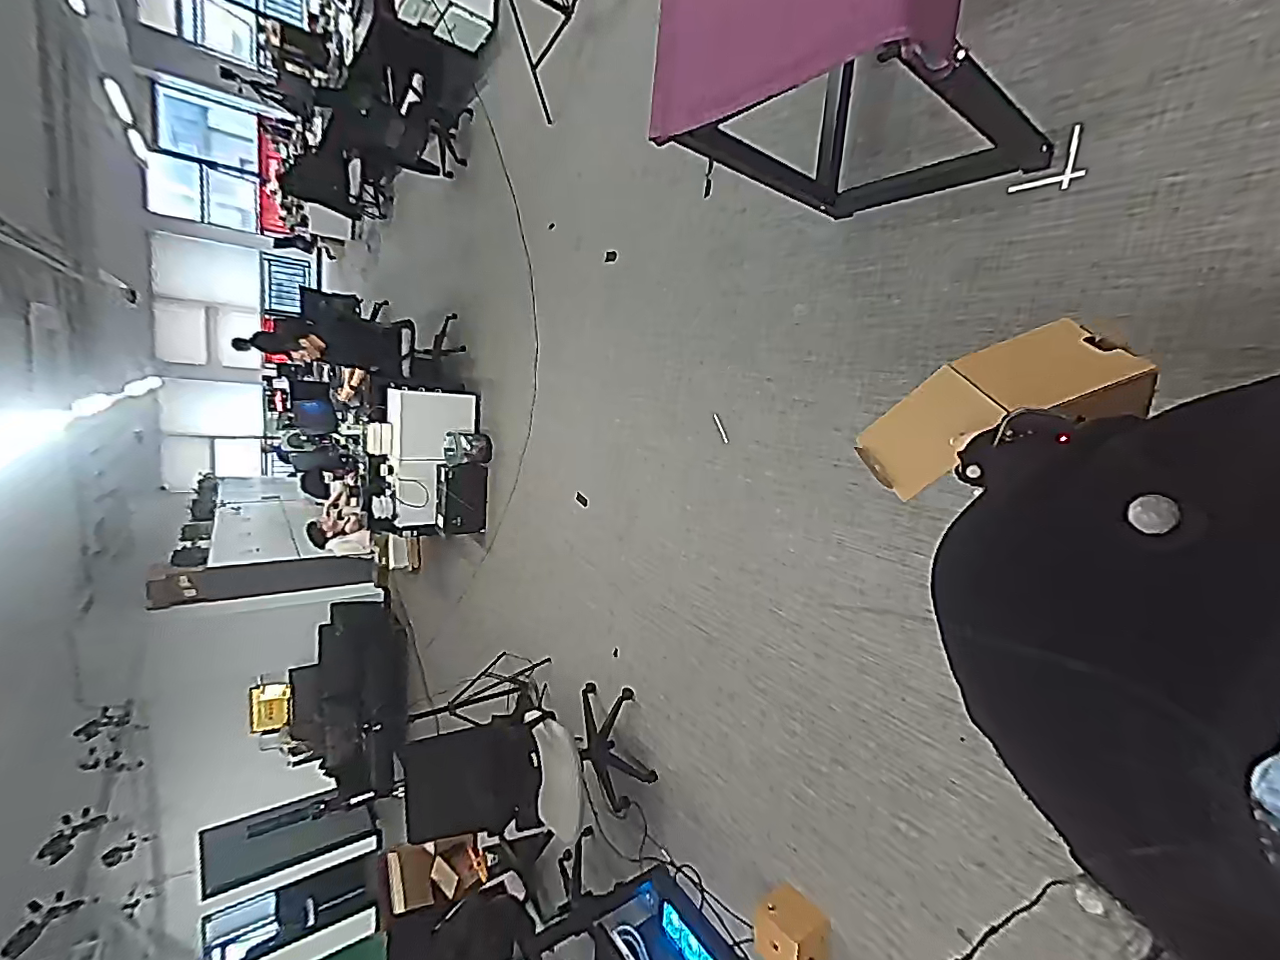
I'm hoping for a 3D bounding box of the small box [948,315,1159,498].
[{"bbox_3d":[0.578,-0.101,0.780,0.168,0.179,0.176,-100,-15,-50],"label":"small box"}]
